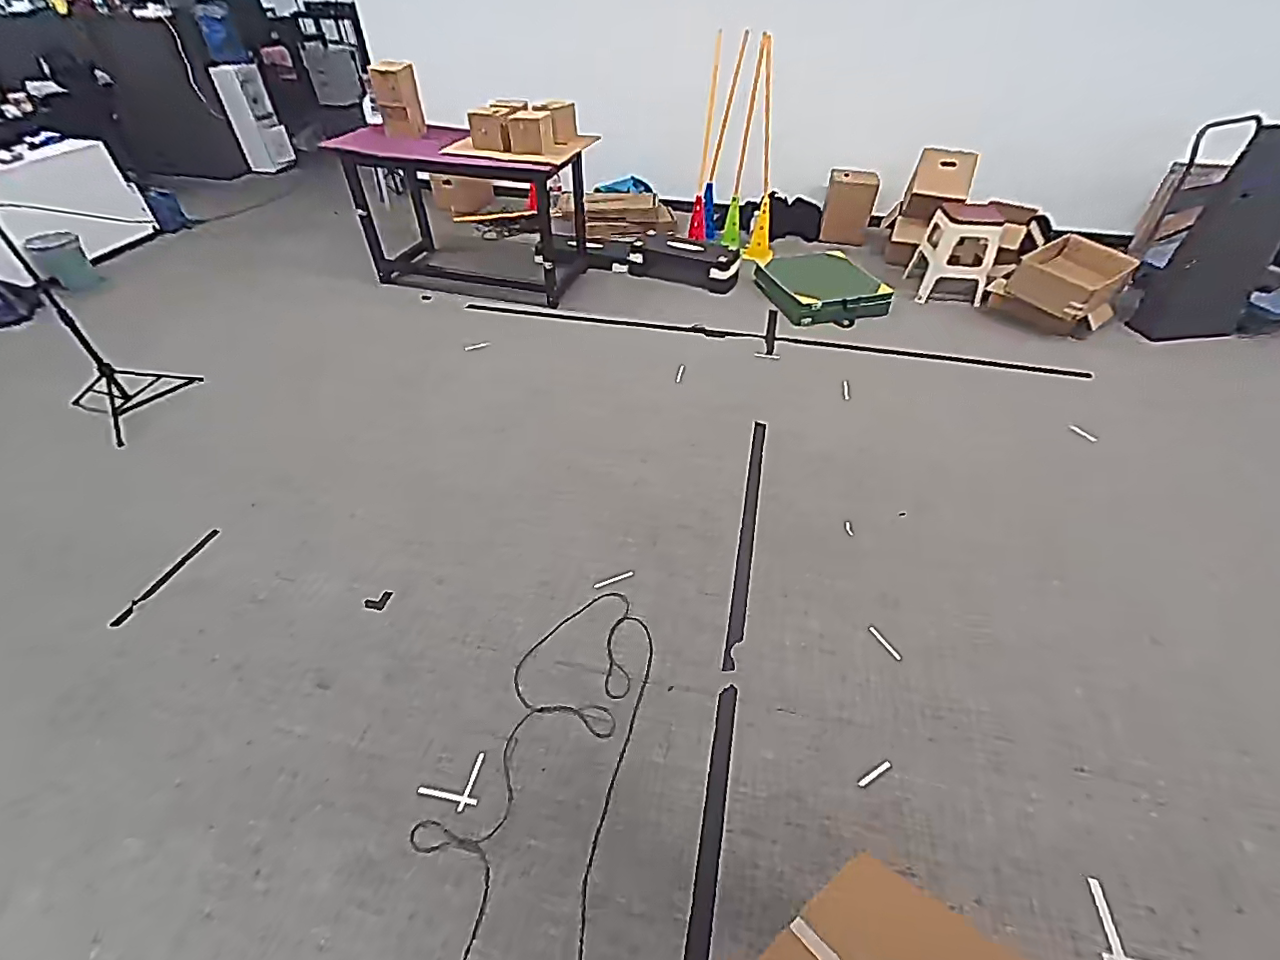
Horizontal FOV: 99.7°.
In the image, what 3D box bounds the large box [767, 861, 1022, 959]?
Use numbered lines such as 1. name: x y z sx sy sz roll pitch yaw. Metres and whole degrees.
1. large box: 0.377 0.775 0.640 0.320 0.408 0.320 -31 87 -20
